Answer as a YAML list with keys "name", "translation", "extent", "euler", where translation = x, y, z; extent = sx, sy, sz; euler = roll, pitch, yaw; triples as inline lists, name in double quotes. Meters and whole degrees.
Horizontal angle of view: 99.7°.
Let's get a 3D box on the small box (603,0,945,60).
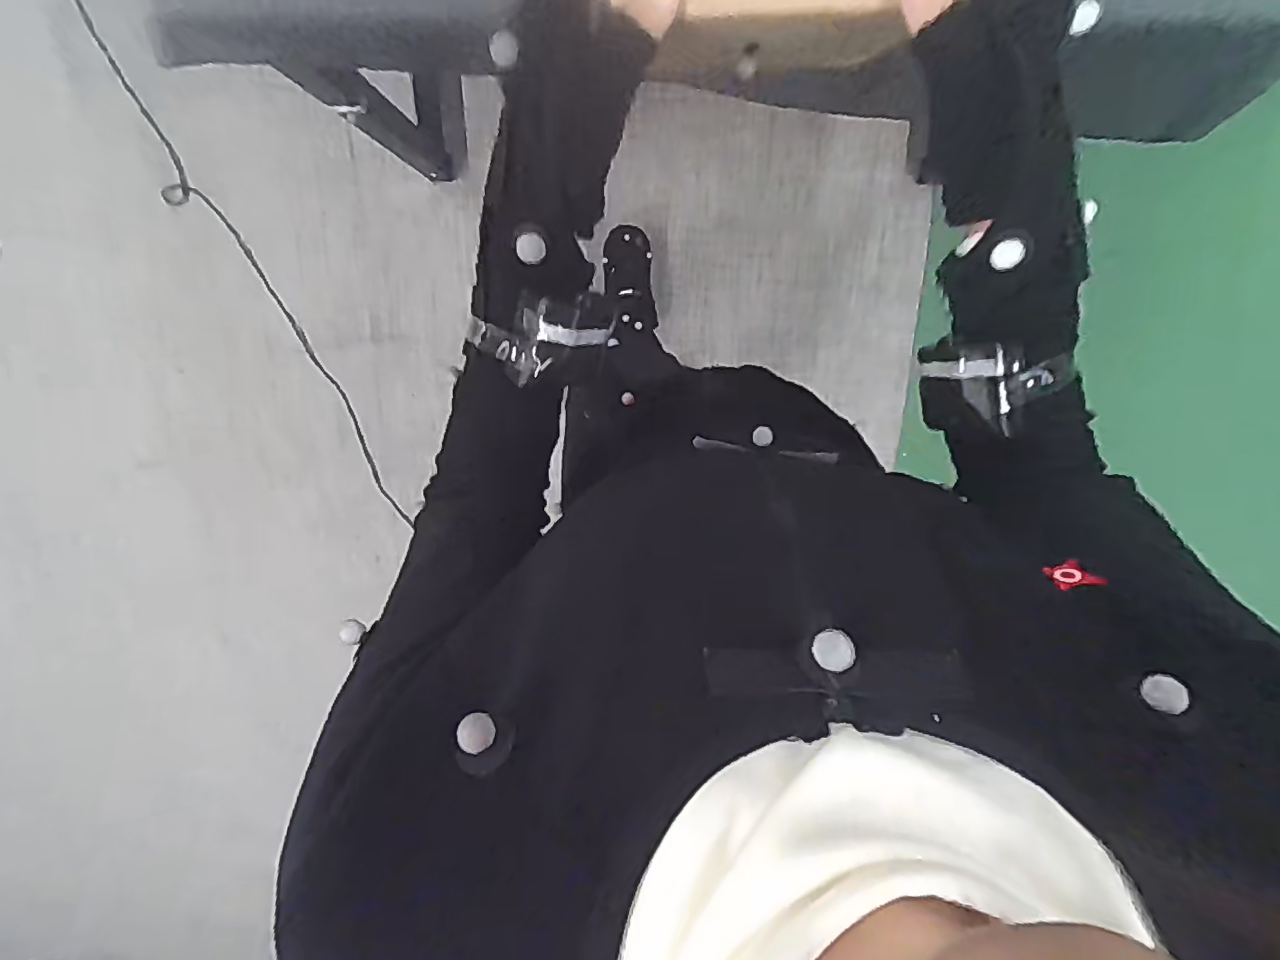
- name: "small box"
  translation: [0.067, -0.340, 0.286]
  extent: [0.179, 0.176, 0.168]
  euler: [-1, 120, 3]
